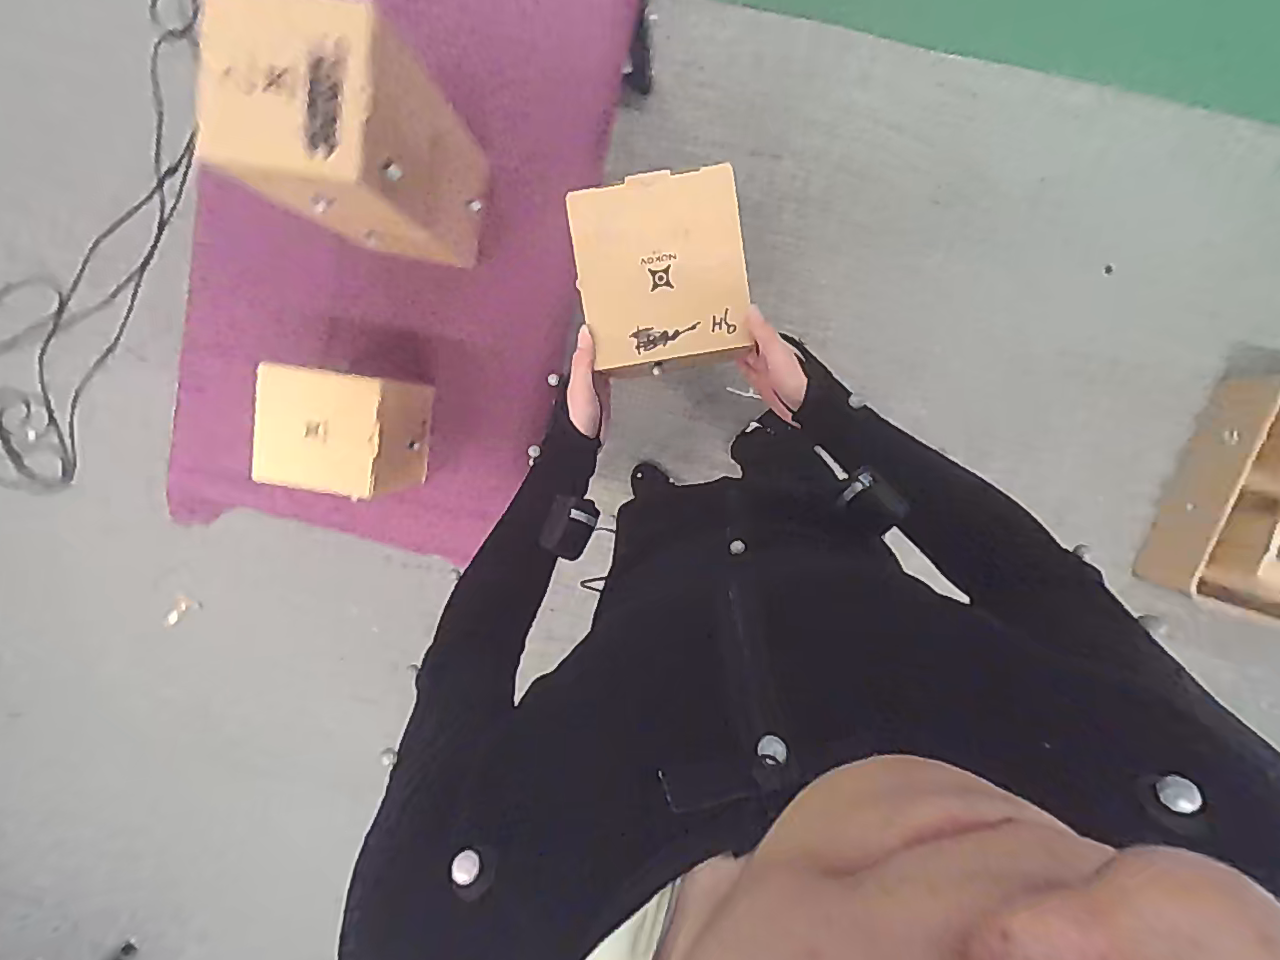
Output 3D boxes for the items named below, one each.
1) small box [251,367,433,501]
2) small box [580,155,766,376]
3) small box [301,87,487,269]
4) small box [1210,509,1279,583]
[{"bbox_3d":[-0.442,-0.070,0.822,0.179,0.176,0.168,8,97,2],"label":"small box"},{"bbox_3d":[0.036,-0.219,0.599,0.168,0.176,0.179,-7,95,5],"label":"small box"},{"bbox_3d":[-0.341,-0.417,0.775,0.179,0.176,0.168,11,98,2],"label":"small box"},{"bbox_3d":[1.667,0.182,1.404,0.179,0.176,0.168,16,97,0],"label":"small box"}]
